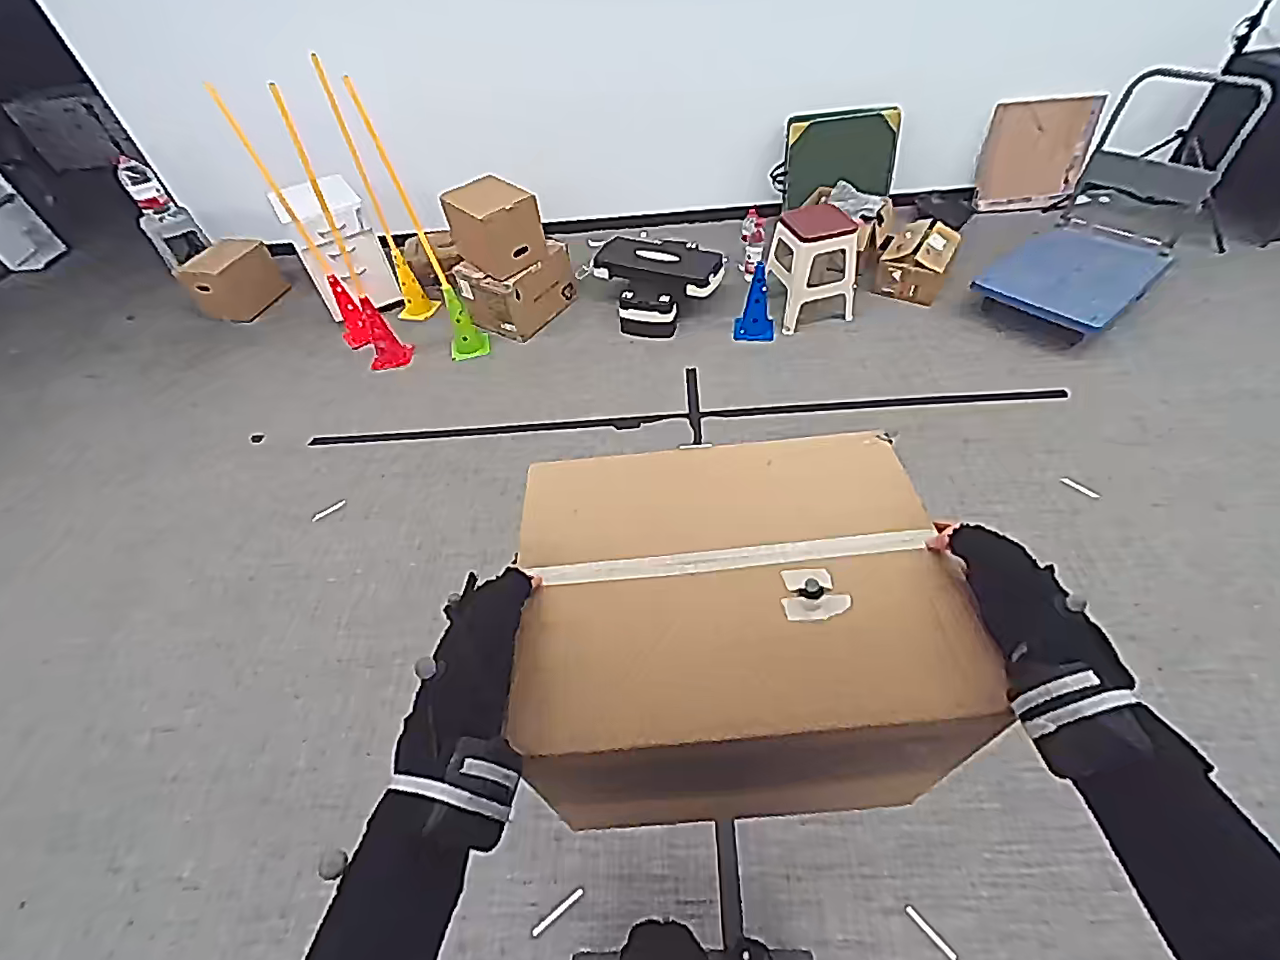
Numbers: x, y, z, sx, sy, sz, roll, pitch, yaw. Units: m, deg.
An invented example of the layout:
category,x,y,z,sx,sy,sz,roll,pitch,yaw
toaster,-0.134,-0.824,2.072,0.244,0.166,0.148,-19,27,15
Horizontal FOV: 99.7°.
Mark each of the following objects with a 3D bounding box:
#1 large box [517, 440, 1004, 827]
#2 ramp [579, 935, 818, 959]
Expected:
category,x,y,z,sx,sy,sz,roll,pitch,yaw
large box,0.096,0.185,0.639,0.408,0.320,0.320,-6,48,1
ramp,0.130,1.377,0.868,0.509,0.206,0.991,-4,49,1
